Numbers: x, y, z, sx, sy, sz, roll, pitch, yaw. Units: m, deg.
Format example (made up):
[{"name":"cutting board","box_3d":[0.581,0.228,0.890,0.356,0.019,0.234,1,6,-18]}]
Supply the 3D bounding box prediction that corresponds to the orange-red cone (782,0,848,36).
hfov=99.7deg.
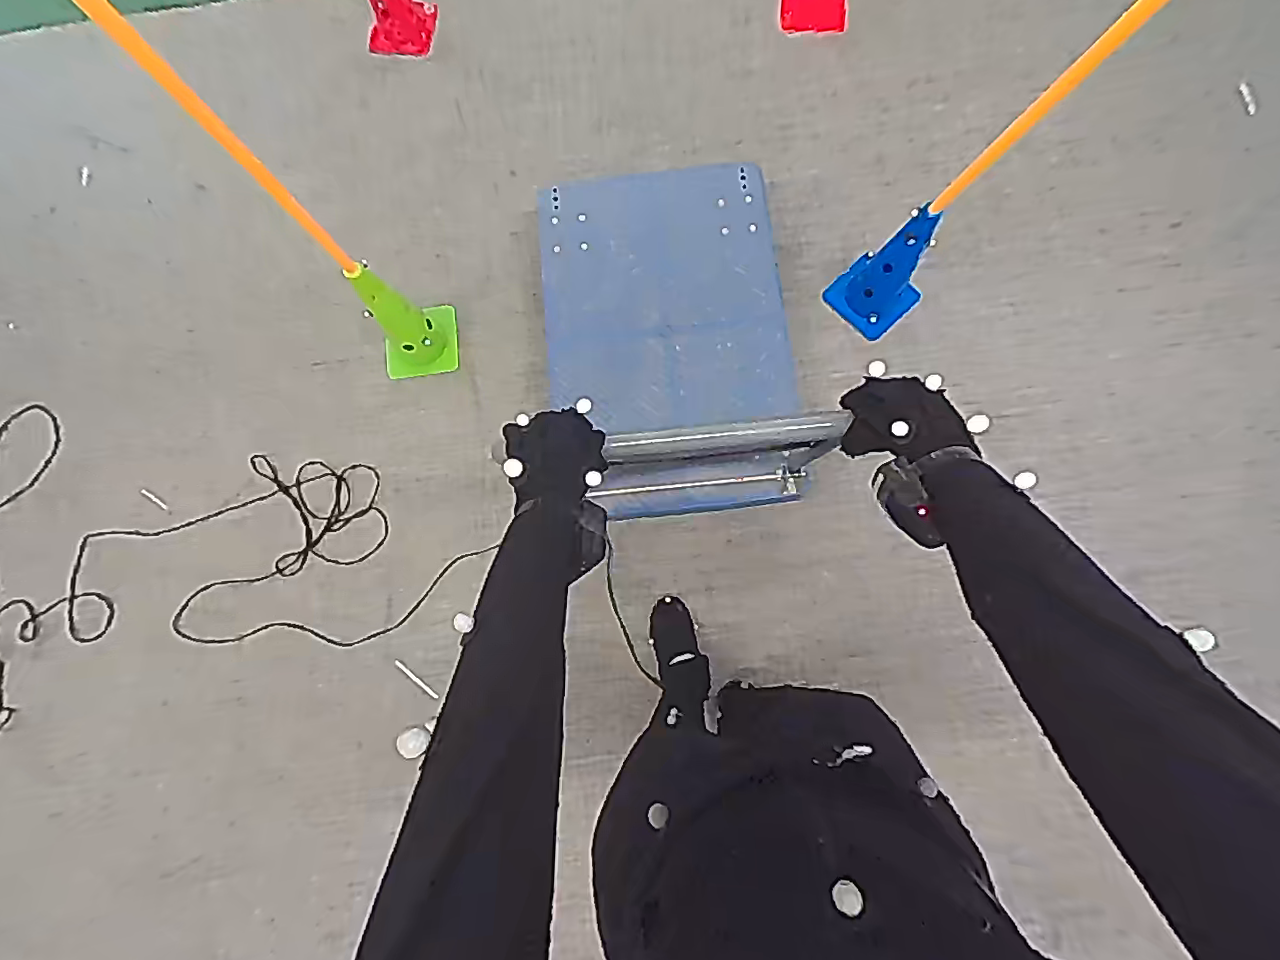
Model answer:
[{"name":"orange-red cone","box_3d":[0.532,-1.490,1.510,0.198,0.360,0.199,4,80,4]}]
